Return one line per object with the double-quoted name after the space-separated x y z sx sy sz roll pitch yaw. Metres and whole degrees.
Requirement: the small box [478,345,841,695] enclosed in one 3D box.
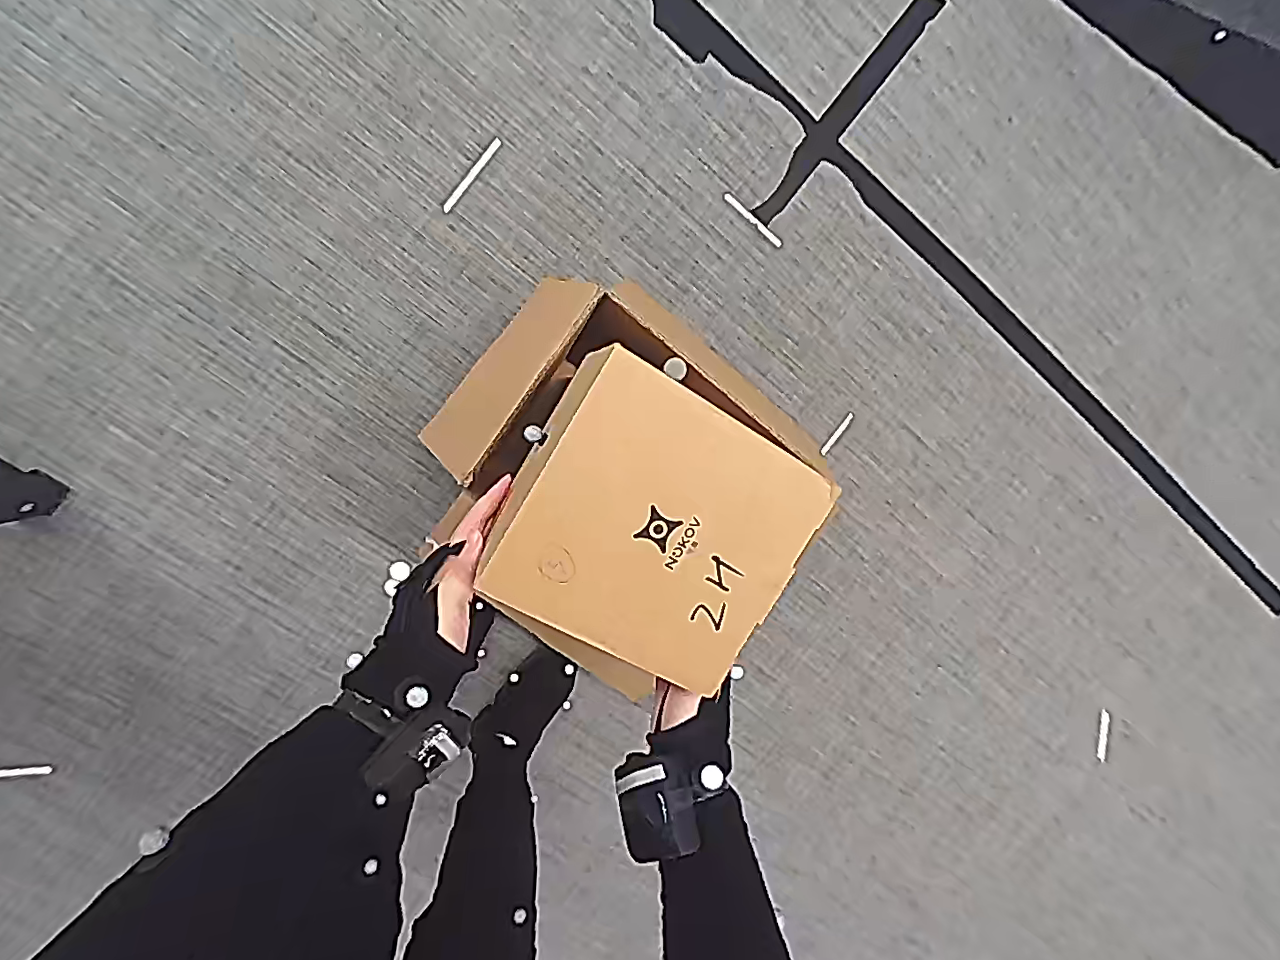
0.003 0.019 0.409 0.179 0.176 0.168 30 94 -15 "small box"
